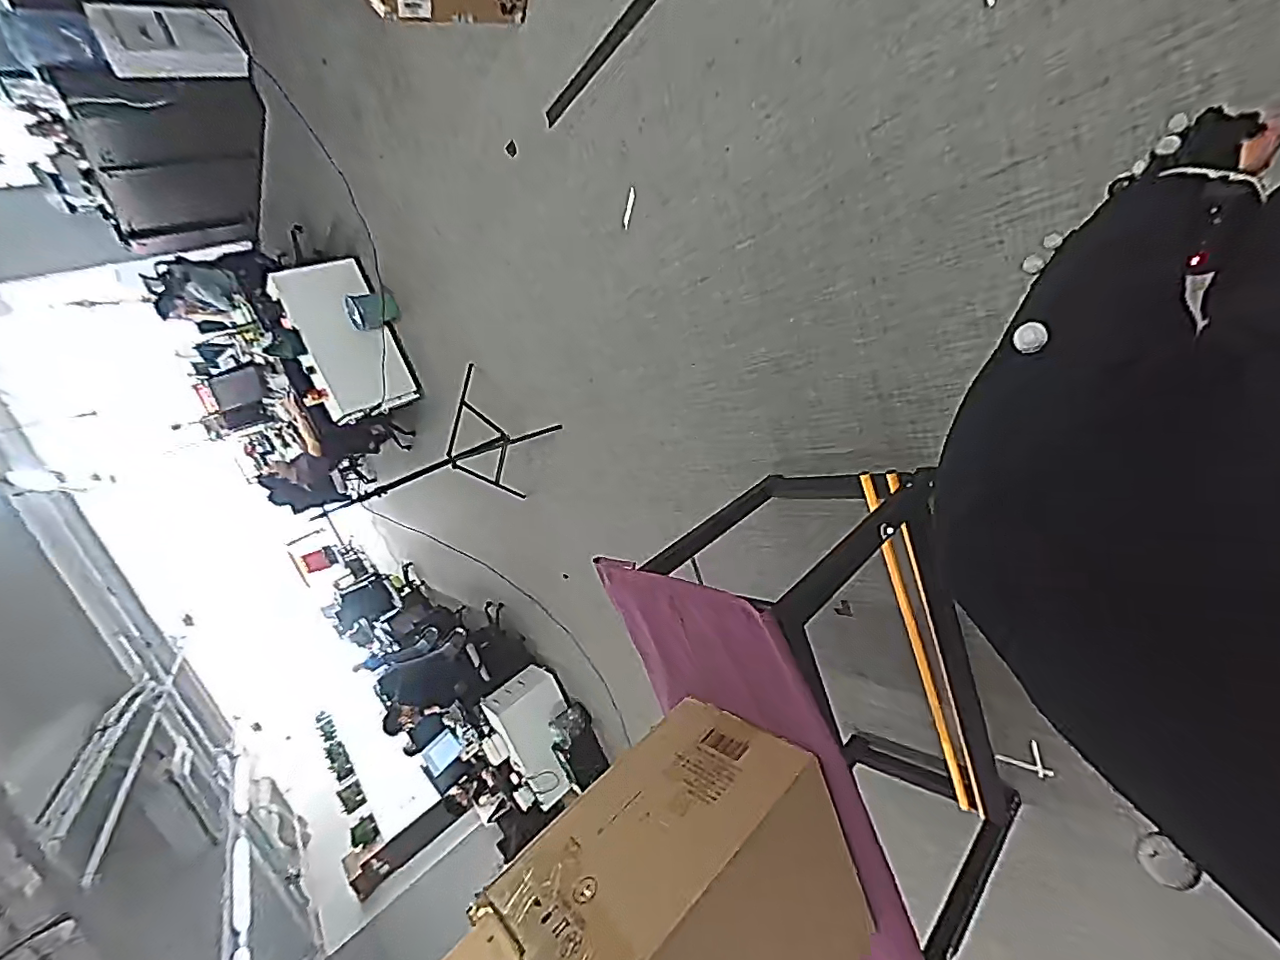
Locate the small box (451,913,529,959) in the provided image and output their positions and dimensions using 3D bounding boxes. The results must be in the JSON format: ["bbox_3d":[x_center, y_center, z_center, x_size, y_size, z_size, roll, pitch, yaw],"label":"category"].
[{"bbox_3d":[-0.270,0.967,0.998,0.168,0.176,0.179,-10,109,55],"label":"small box"}]
